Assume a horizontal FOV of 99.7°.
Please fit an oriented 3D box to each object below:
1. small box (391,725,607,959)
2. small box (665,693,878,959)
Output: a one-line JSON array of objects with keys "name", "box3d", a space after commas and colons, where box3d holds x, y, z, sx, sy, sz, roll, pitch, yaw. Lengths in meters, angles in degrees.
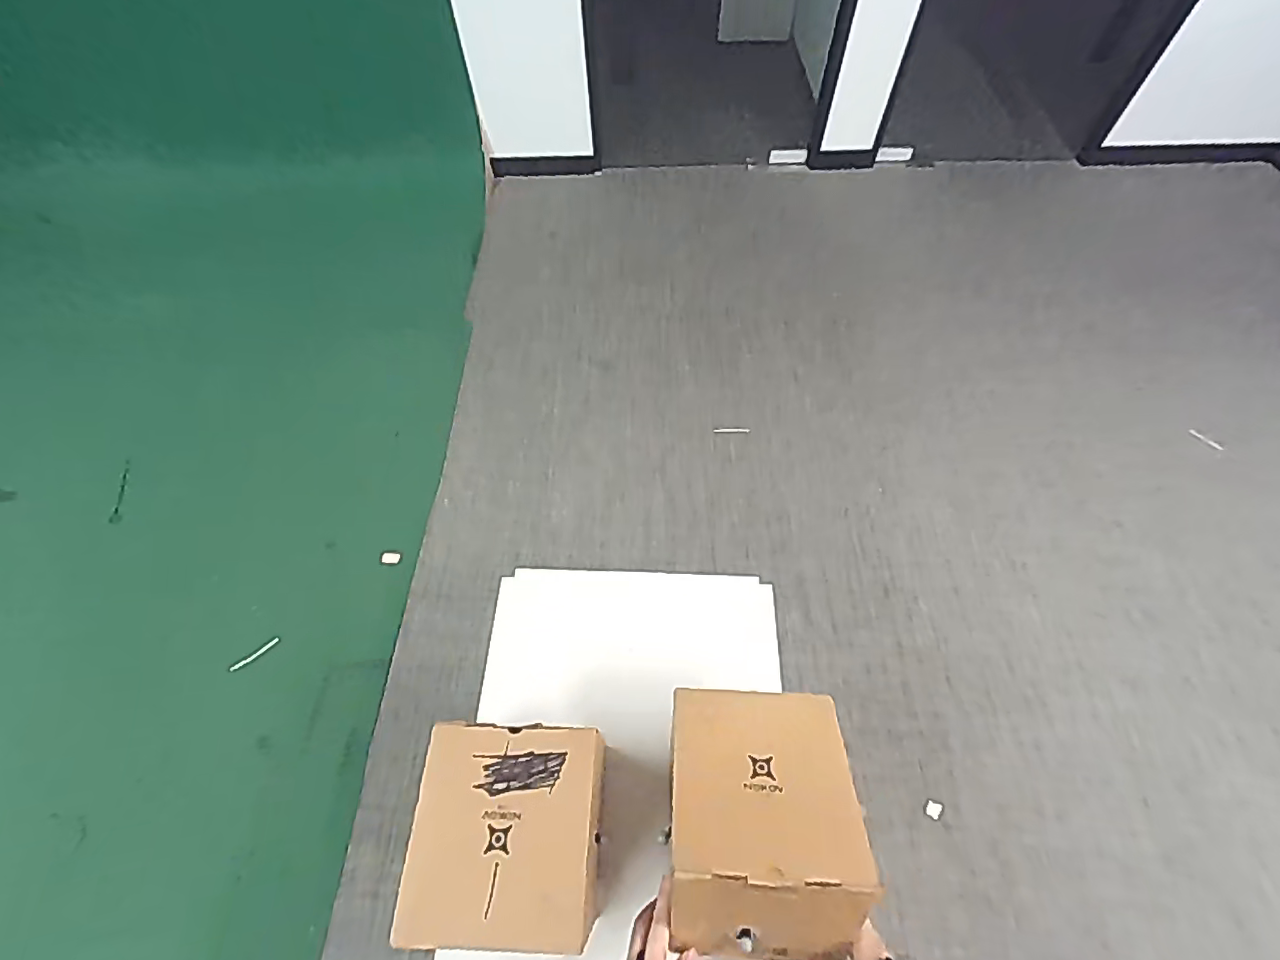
[{"name": "small box", "box3d": [-0.125, 0.366, 0.564, 0.168, 0.176, 0.179, 2, 59, 2]}, {"name": "small box", "box3d": [0.112, 0.344, 0.541, 0.168, 0.176, 0.179, 2, 34, 4]}]
